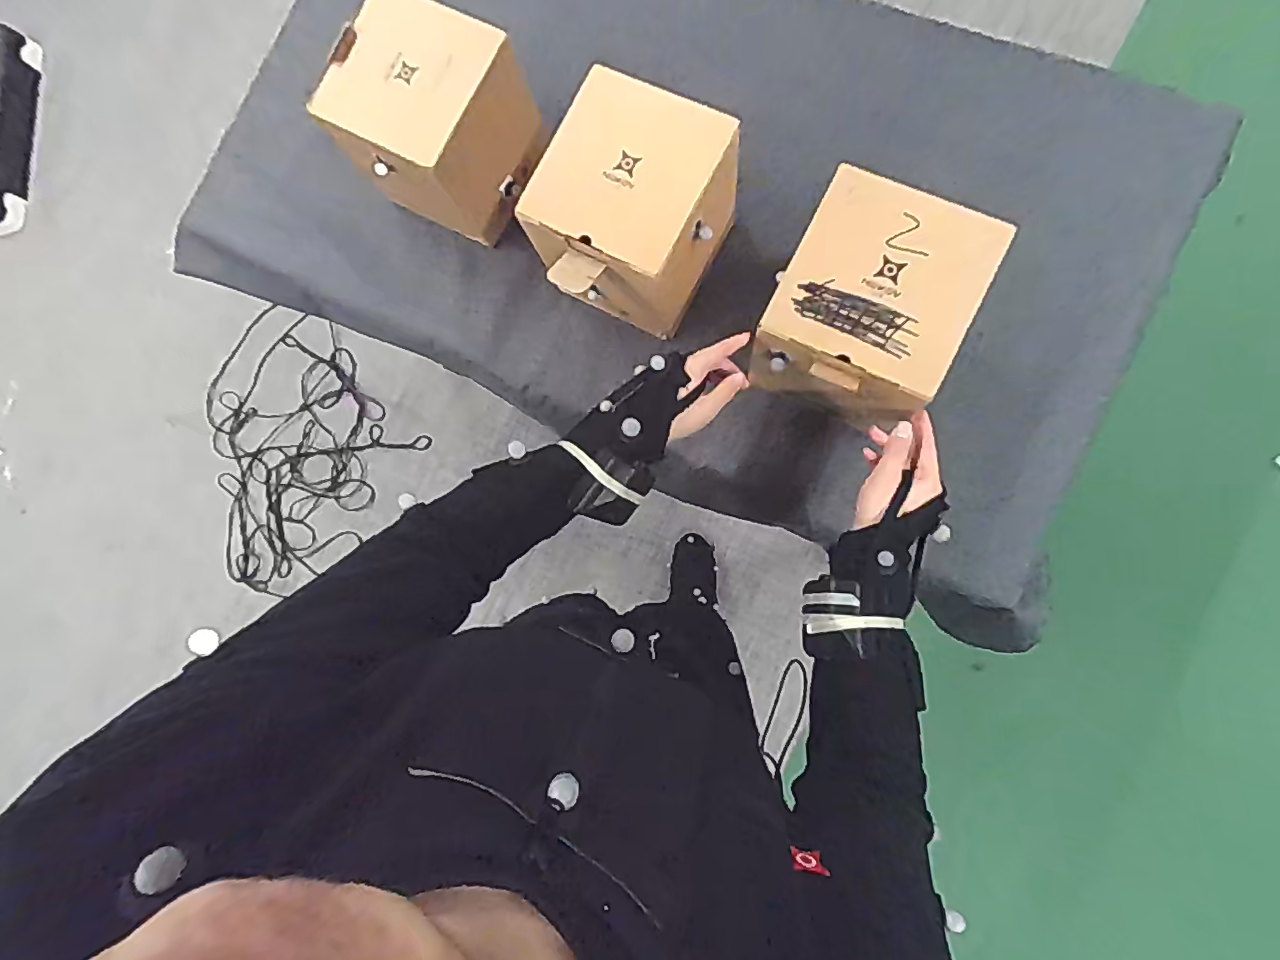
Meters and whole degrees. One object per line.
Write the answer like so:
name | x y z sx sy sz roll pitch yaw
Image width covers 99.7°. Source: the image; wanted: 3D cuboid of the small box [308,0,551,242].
small box | -0.236 -0.423 0.649 0.179 0.176 0.168 29 89 9

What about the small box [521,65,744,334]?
small box | -0.001 -0.297 0.607 0.168 0.176 0.179 28 89 9
